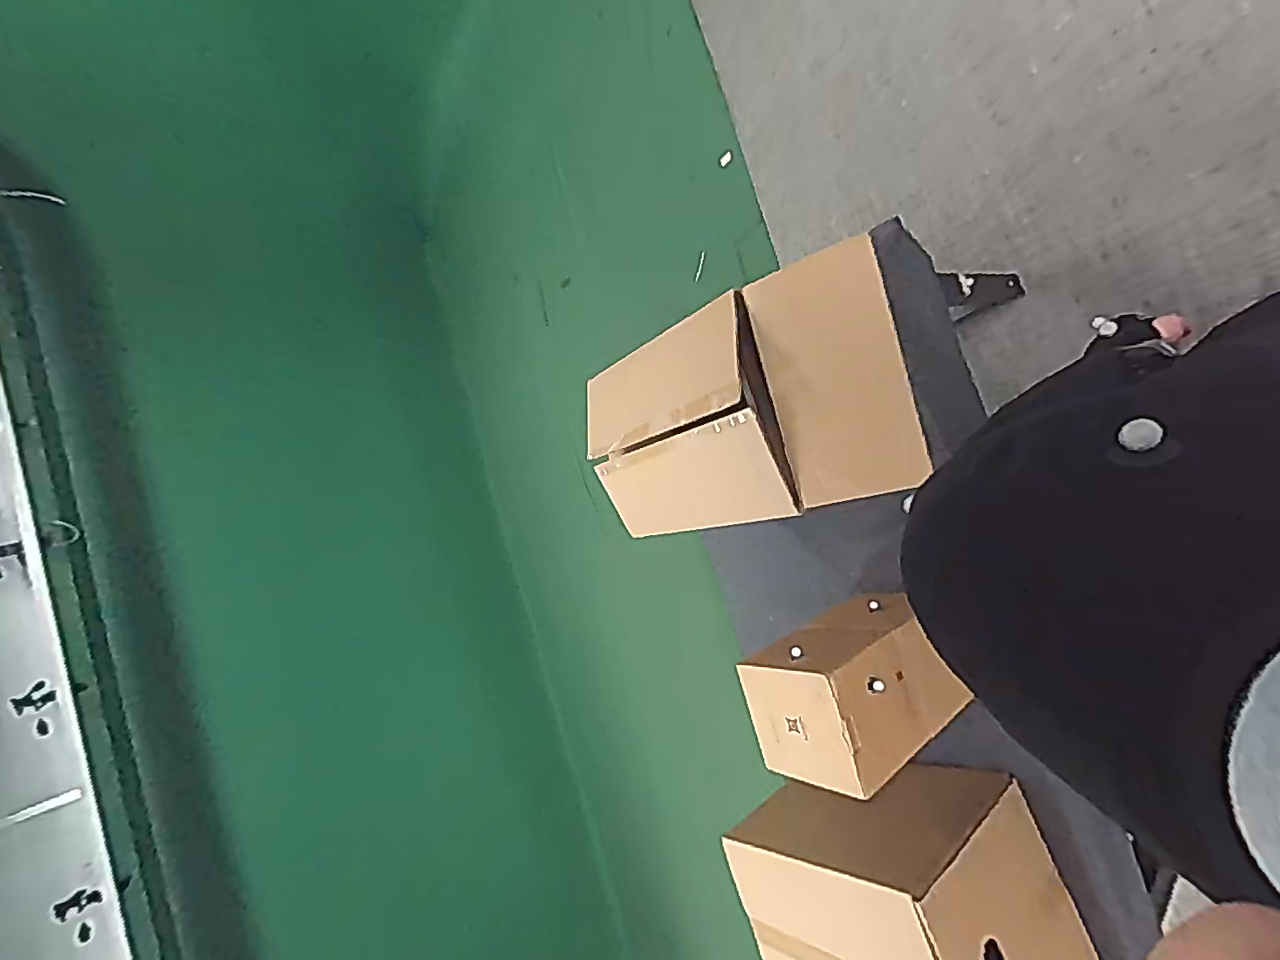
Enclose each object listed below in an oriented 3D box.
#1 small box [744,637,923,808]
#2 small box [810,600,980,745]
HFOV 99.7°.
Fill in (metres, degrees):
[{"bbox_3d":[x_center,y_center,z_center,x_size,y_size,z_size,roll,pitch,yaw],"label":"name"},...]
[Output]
[{"bbox_3d":[0.296,0.348,0.817,0.179,0.176,0.168,-22,84,57],"label":"small box"},{"bbox_3d":[0.425,0.309,0.907,0.179,0.176,0.168,-21,87,55],"label":"small box"}]
